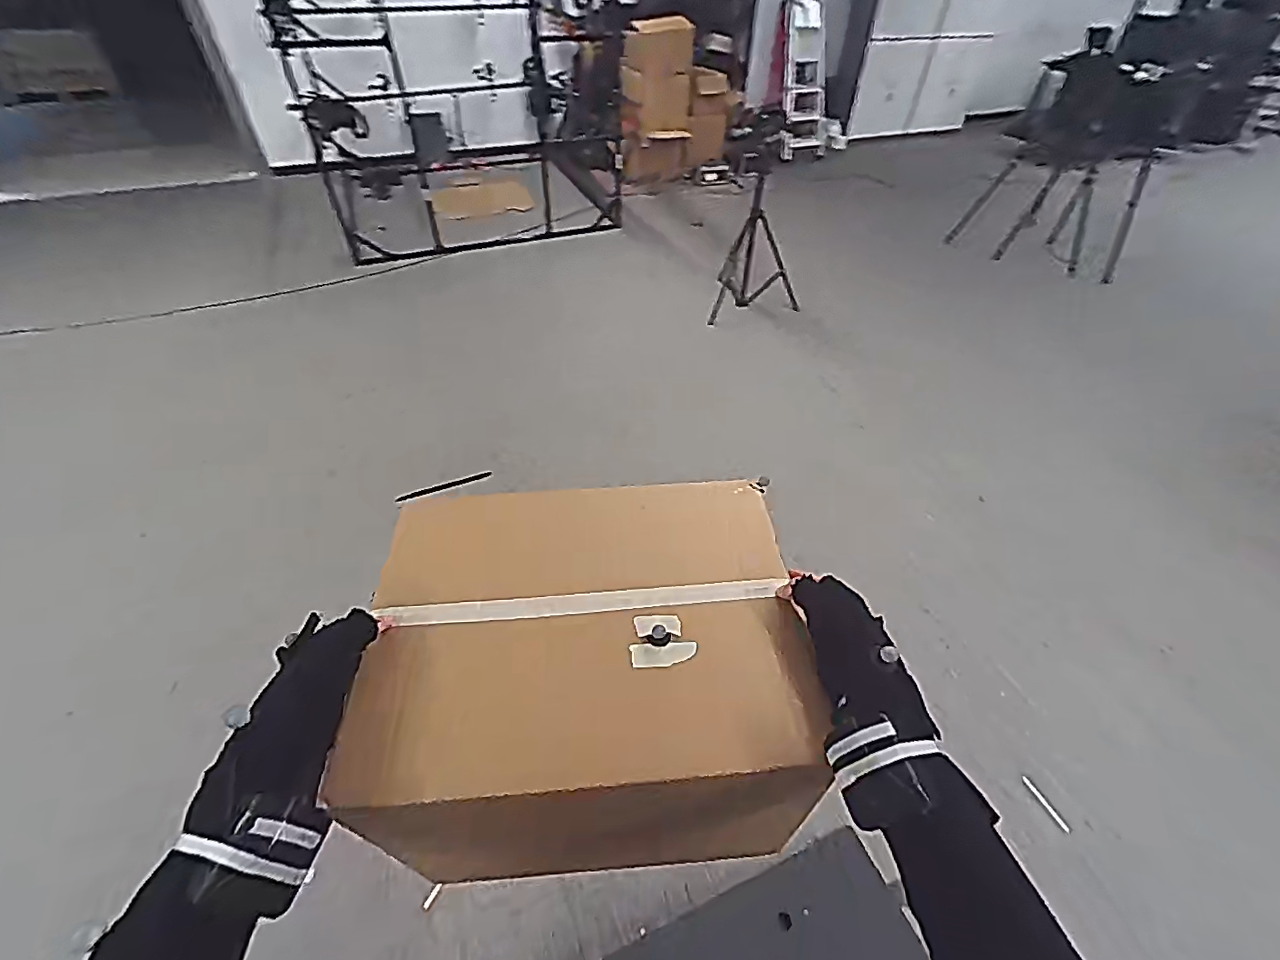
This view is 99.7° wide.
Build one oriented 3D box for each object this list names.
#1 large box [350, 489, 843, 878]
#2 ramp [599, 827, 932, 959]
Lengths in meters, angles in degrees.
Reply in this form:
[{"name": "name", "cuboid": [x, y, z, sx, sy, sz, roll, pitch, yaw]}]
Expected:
[{"name": "large box", "cuboid": [-0.042, 0.235, 0.637, 0.408, 0.320, 0.320, -3, 45, -3]}, {"name": "ramp", "cuboid": [0.202, 1.144, 1.080, 0.991, 0.206, 0.509, -18, 46, -18]}]
